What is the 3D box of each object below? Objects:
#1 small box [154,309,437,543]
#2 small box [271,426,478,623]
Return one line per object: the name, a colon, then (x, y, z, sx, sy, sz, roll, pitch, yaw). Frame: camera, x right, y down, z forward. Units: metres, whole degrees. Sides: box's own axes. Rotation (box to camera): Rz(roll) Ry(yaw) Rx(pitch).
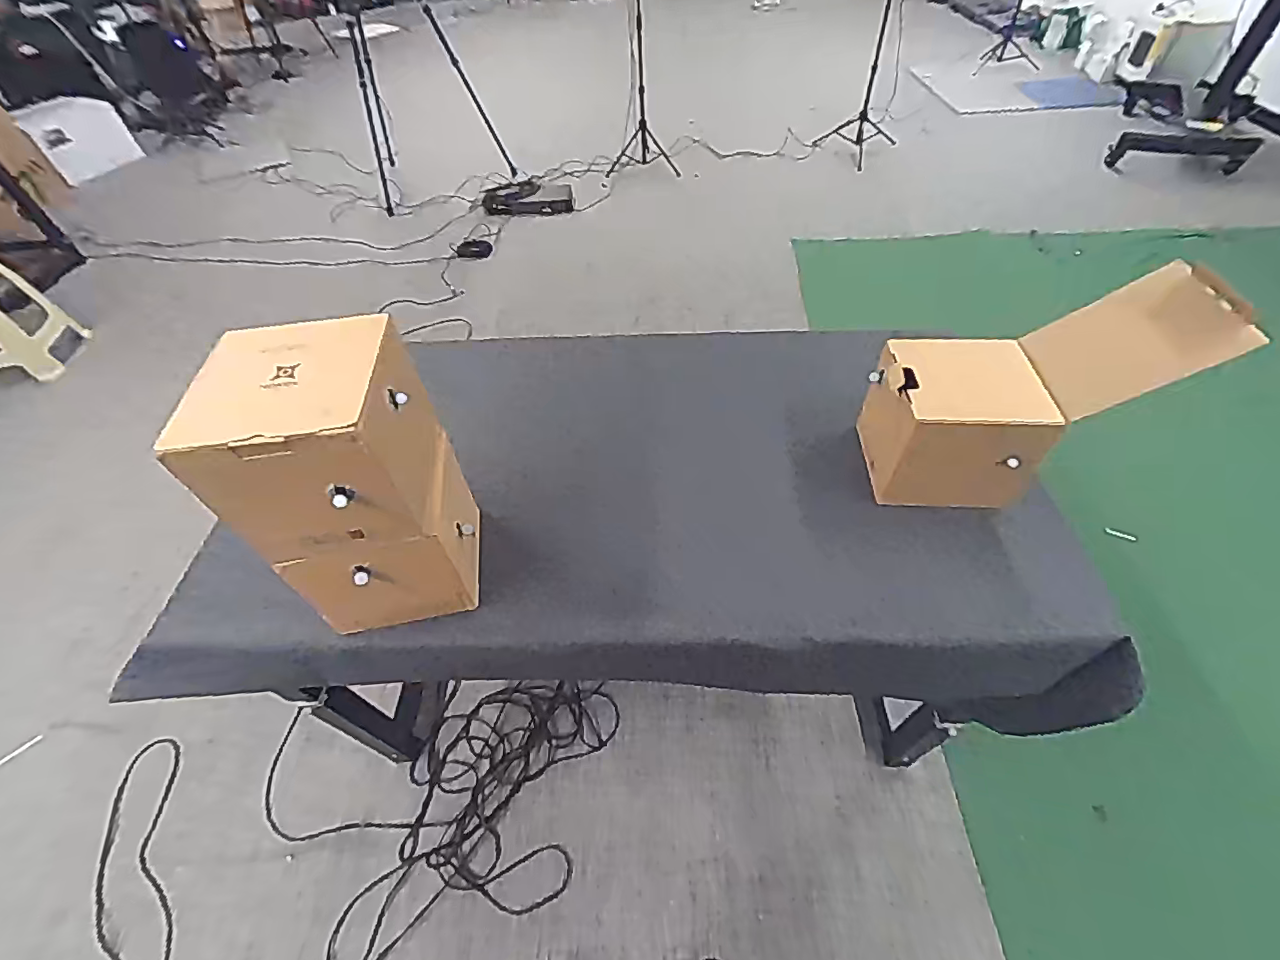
small box: (-0.322, -0.049, 0.556, 0.168, 0.176, 0.179, -7, 49, -4)
small box: (-0.309, 0.059, 0.678, 0.179, 0.176, 0.168, -10, 50, -4)
